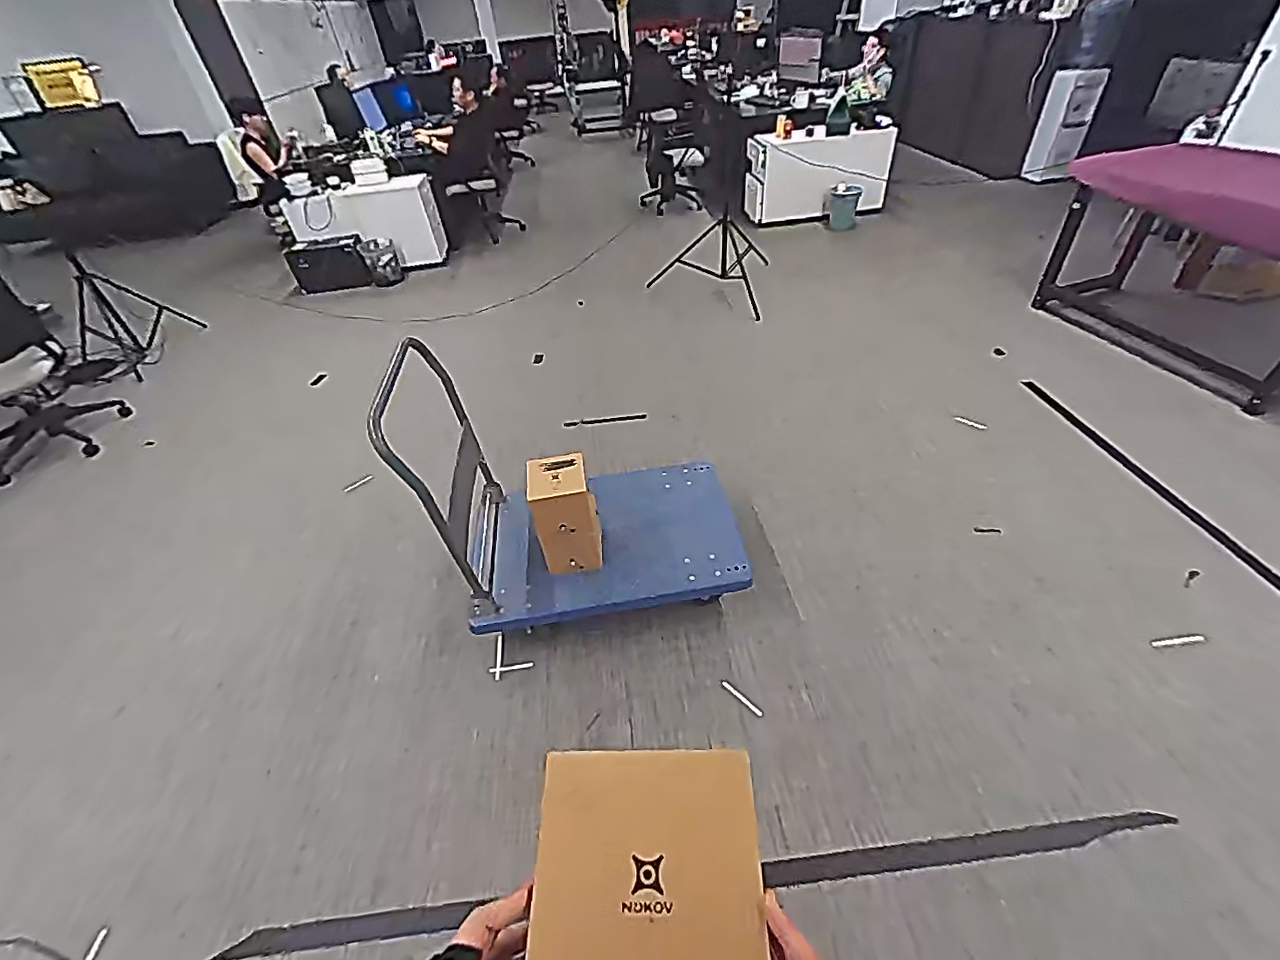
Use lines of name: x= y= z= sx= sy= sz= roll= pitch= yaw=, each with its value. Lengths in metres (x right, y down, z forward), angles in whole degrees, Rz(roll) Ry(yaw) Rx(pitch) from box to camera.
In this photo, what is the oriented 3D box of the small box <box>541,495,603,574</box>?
small box: x=-0.209 y=0.173 z=1.701 sx=0.168 sy=0.176 sz=0.179 roll=-7 pitch=42 yaw=0
